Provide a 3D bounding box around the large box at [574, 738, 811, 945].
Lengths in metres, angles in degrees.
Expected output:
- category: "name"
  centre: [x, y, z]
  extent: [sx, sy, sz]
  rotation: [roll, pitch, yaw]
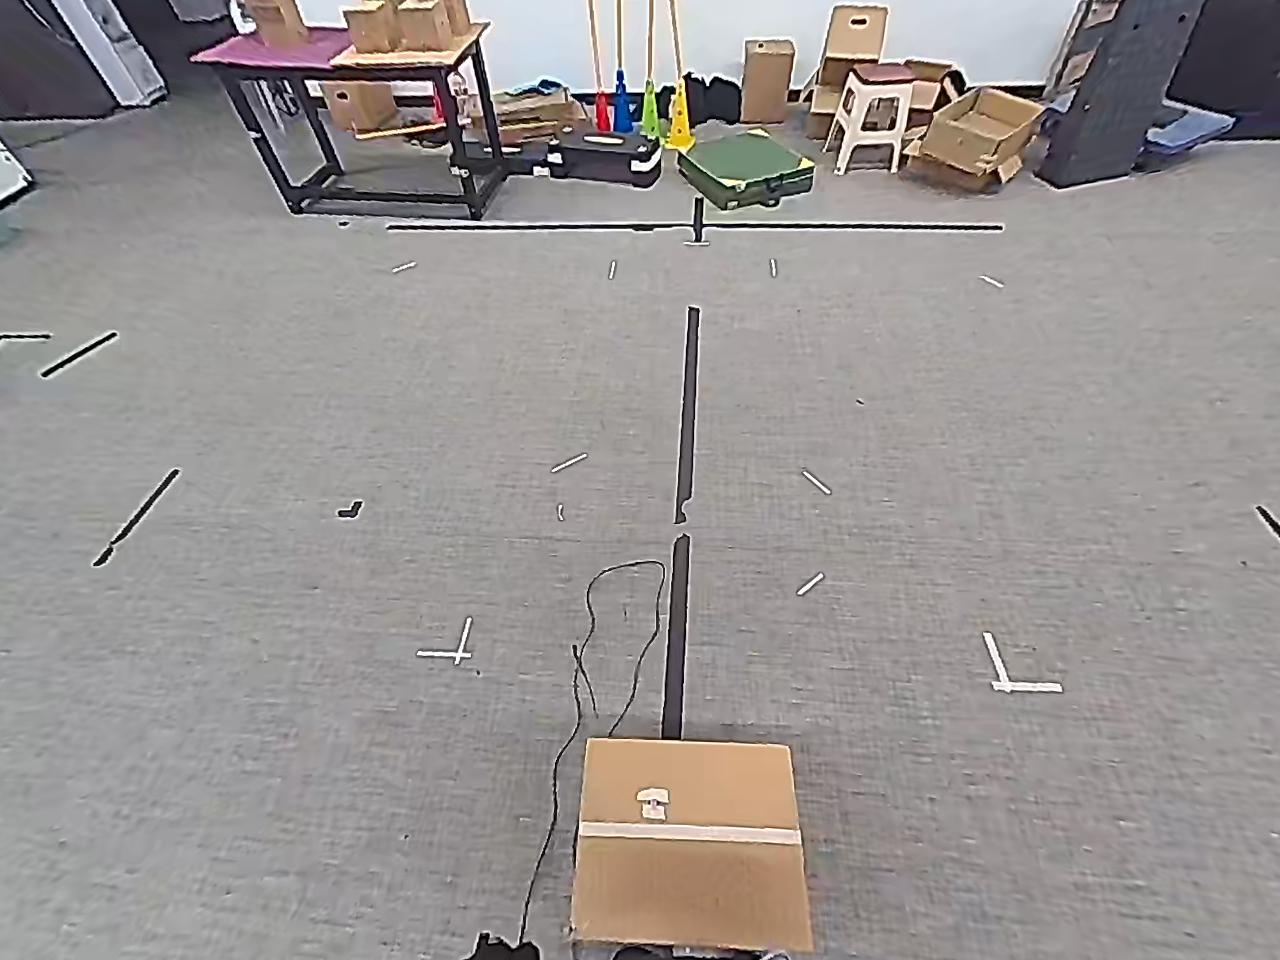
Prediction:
- category: "large box"
  centre: [0.099, 0.733, 1.107]
  extent: [0.408, 0.320, 0.320]
  rotation: [0, 51, 4]
